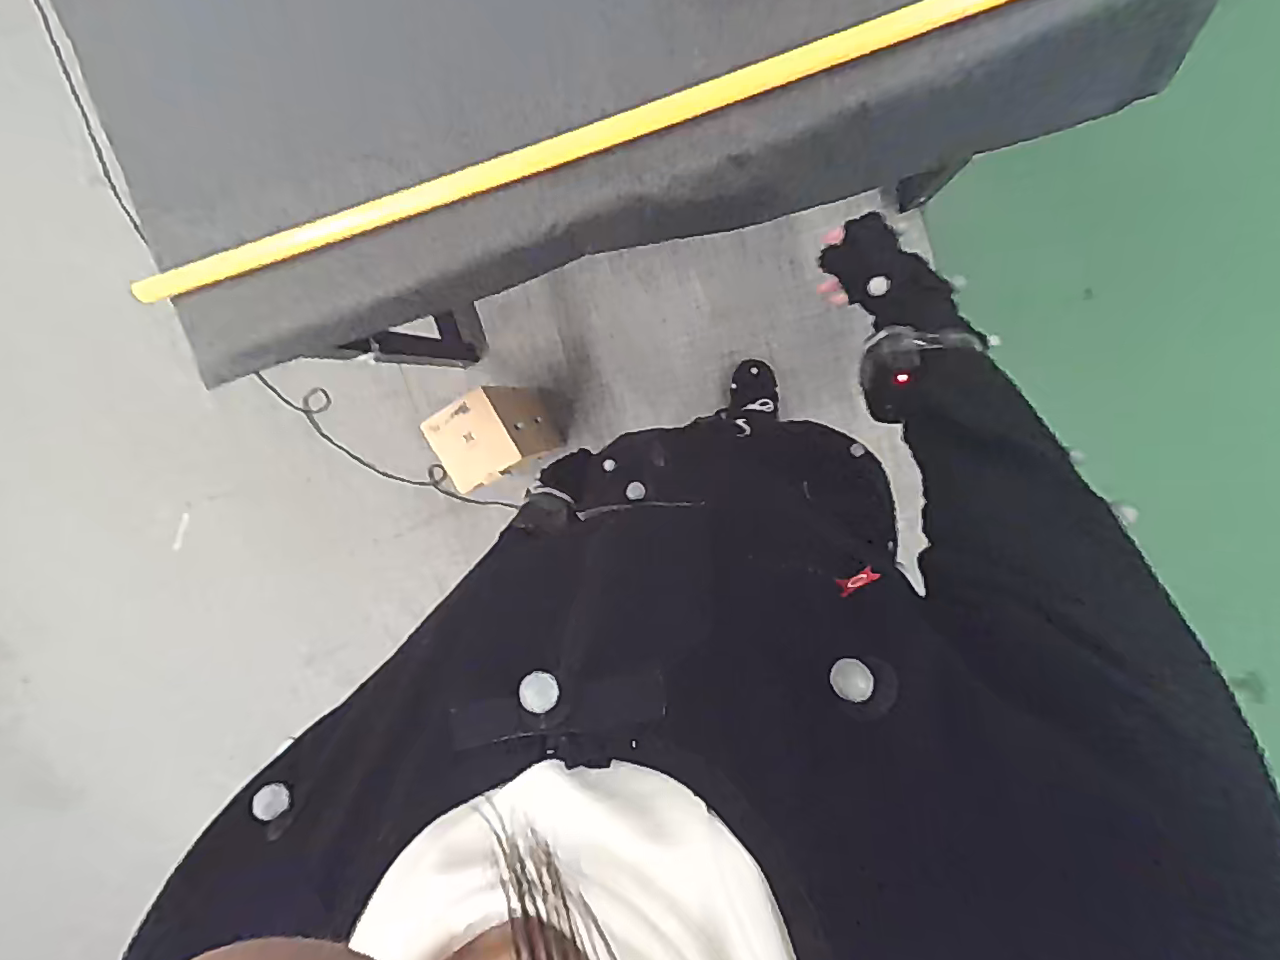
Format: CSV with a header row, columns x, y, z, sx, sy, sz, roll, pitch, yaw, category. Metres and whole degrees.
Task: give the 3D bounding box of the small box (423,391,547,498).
x,y,z,sx,sy,sz,roll,pitch,yaw,category
-0.337,-0.087,1.212,0.168,0.176,0.179,-31,93,14,small box
